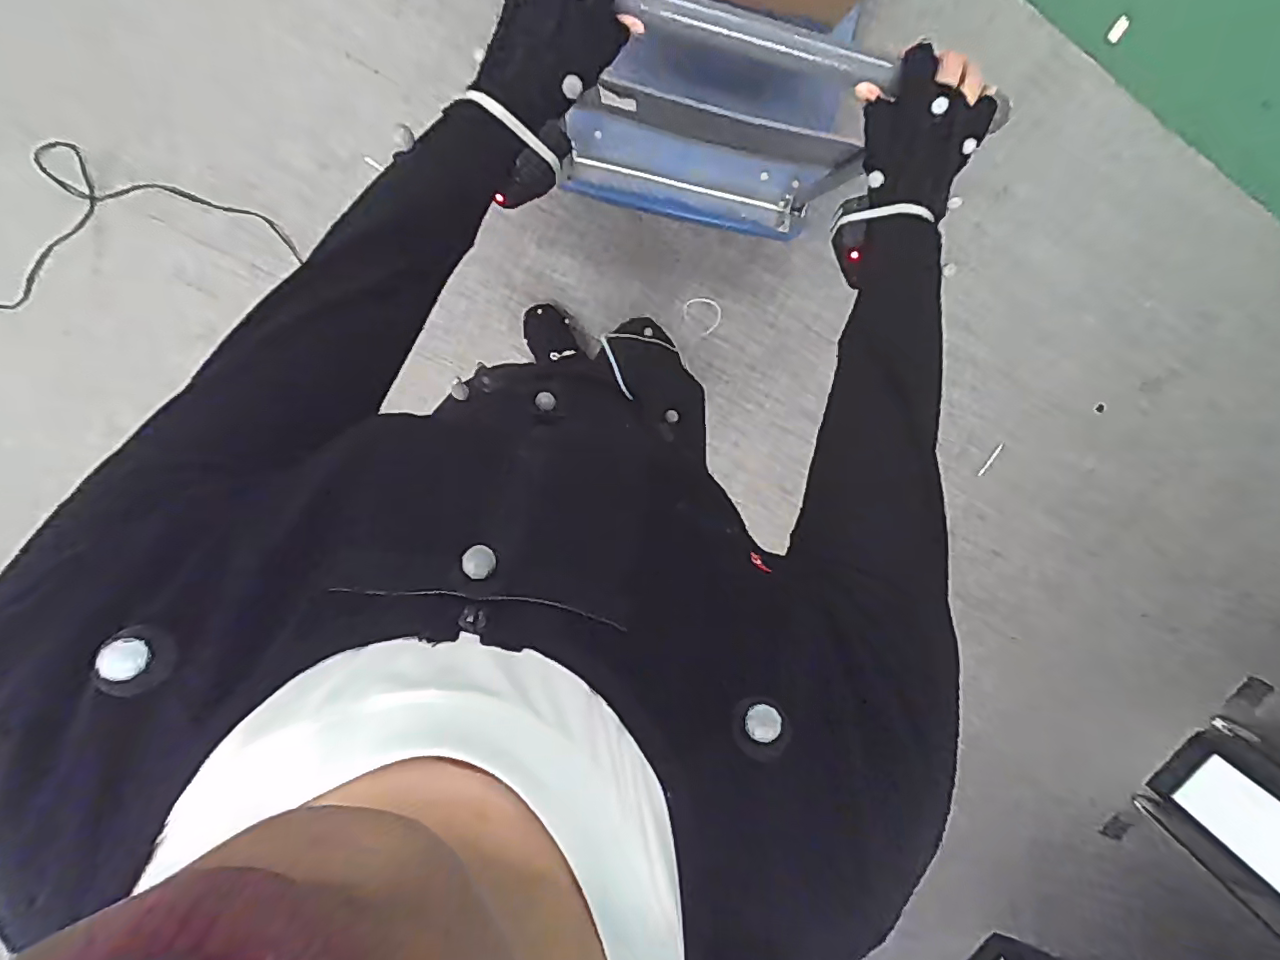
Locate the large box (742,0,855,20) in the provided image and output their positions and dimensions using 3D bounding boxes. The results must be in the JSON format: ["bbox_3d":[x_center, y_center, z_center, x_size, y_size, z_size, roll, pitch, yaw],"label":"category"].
[{"bbox_3d":[0.222,-1.006,0.845,0.408,0.320,0.320,8,108,-7],"label":"large box"}]
